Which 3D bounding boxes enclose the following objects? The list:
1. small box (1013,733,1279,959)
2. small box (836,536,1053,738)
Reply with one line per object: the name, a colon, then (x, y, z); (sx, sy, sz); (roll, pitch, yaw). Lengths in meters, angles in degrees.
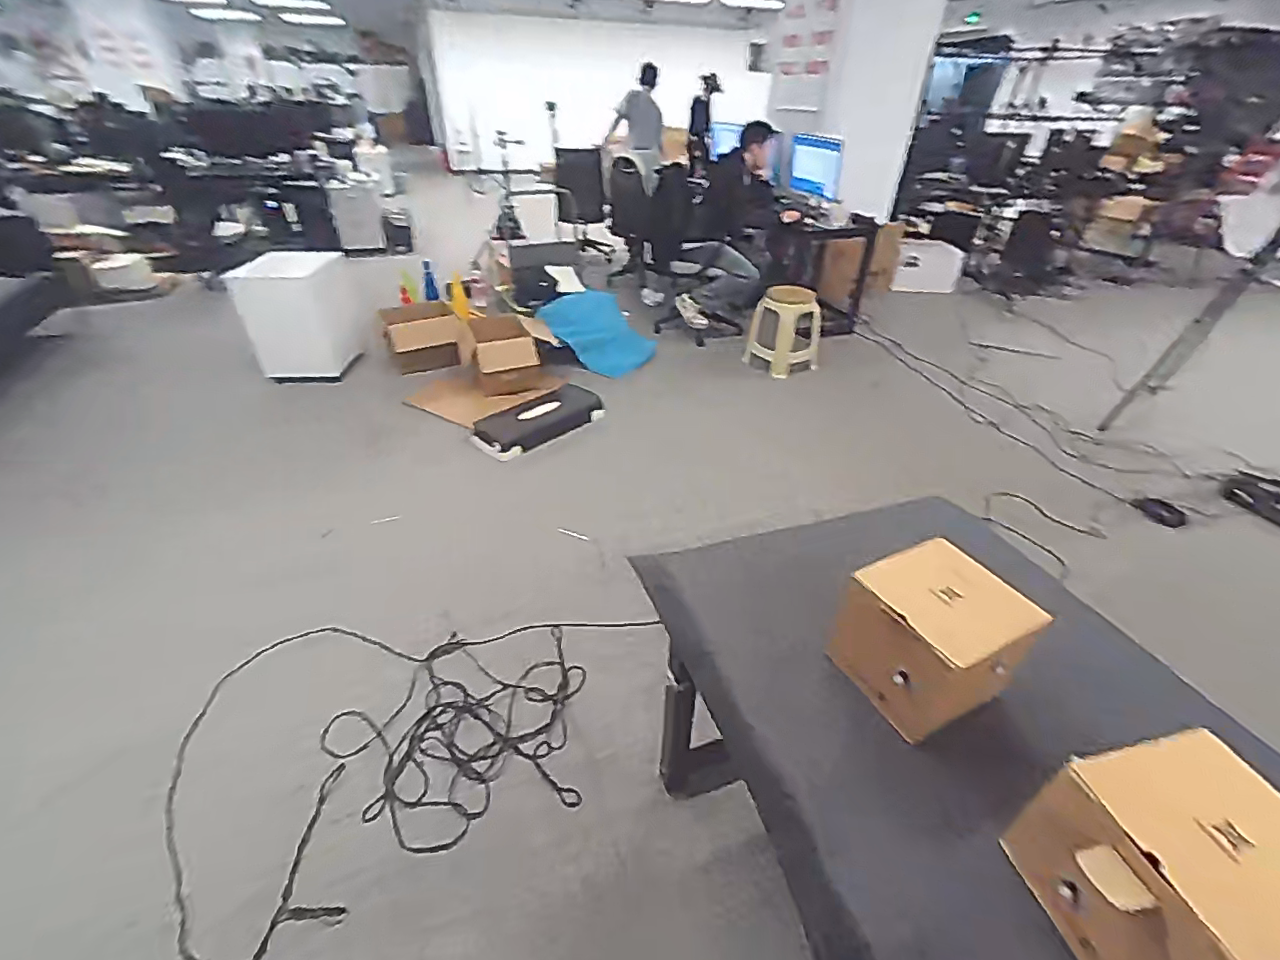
small box: (0.505, 0.370, 0.504); (0.179, 0.176, 0.168); (-7, 37, -11)
small box: (0.389, 0.208, 0.727); (0.179, 0.176, 0.168); (-14, 40, -23)
